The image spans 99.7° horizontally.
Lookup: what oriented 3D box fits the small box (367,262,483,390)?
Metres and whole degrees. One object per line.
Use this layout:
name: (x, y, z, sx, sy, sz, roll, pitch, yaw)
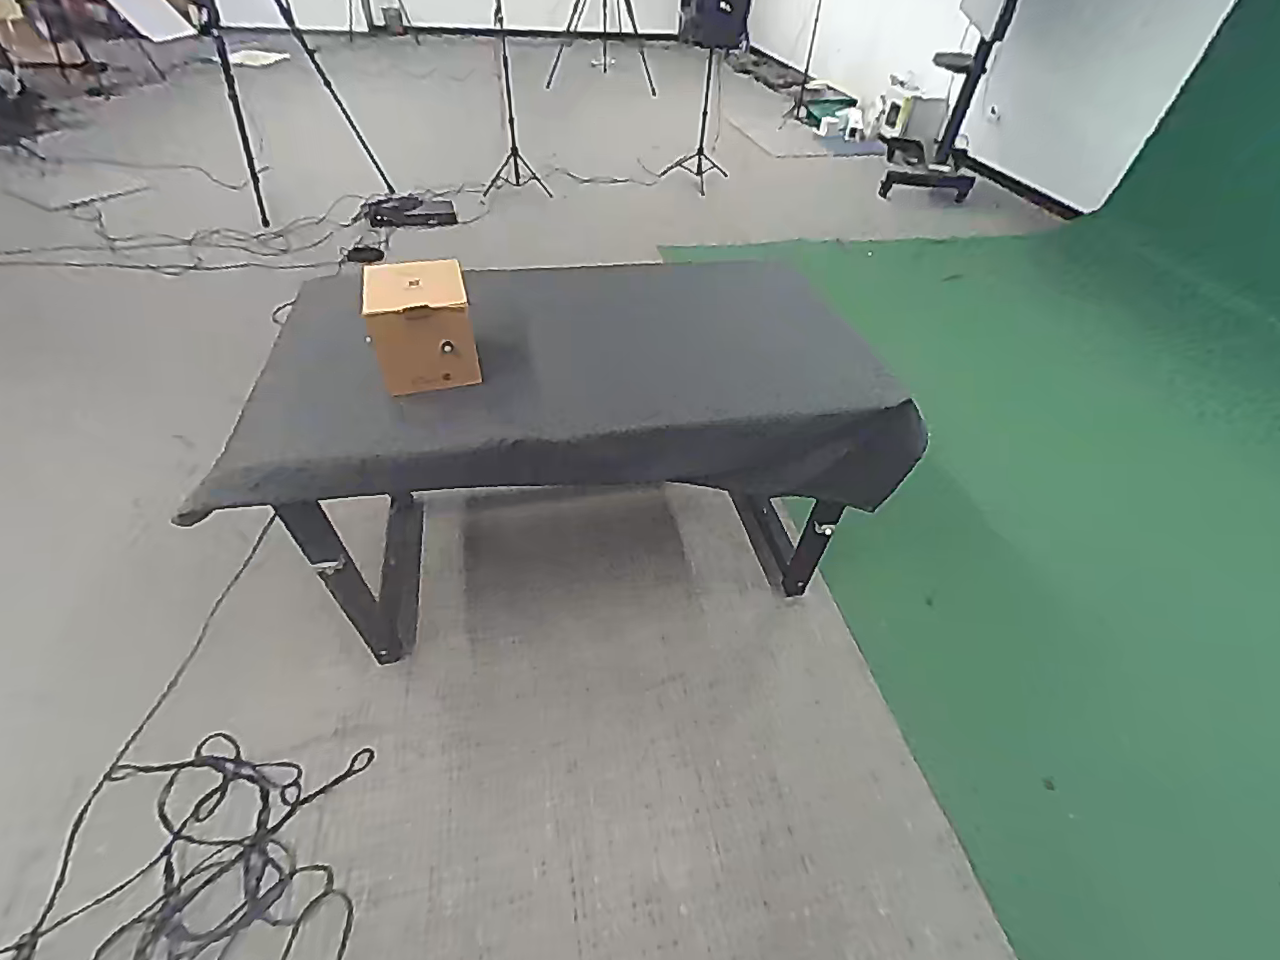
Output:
small box: (-0.393, -0.280, 0.999, 0.168, 0.176, 0.179, -11, 47, -16)
